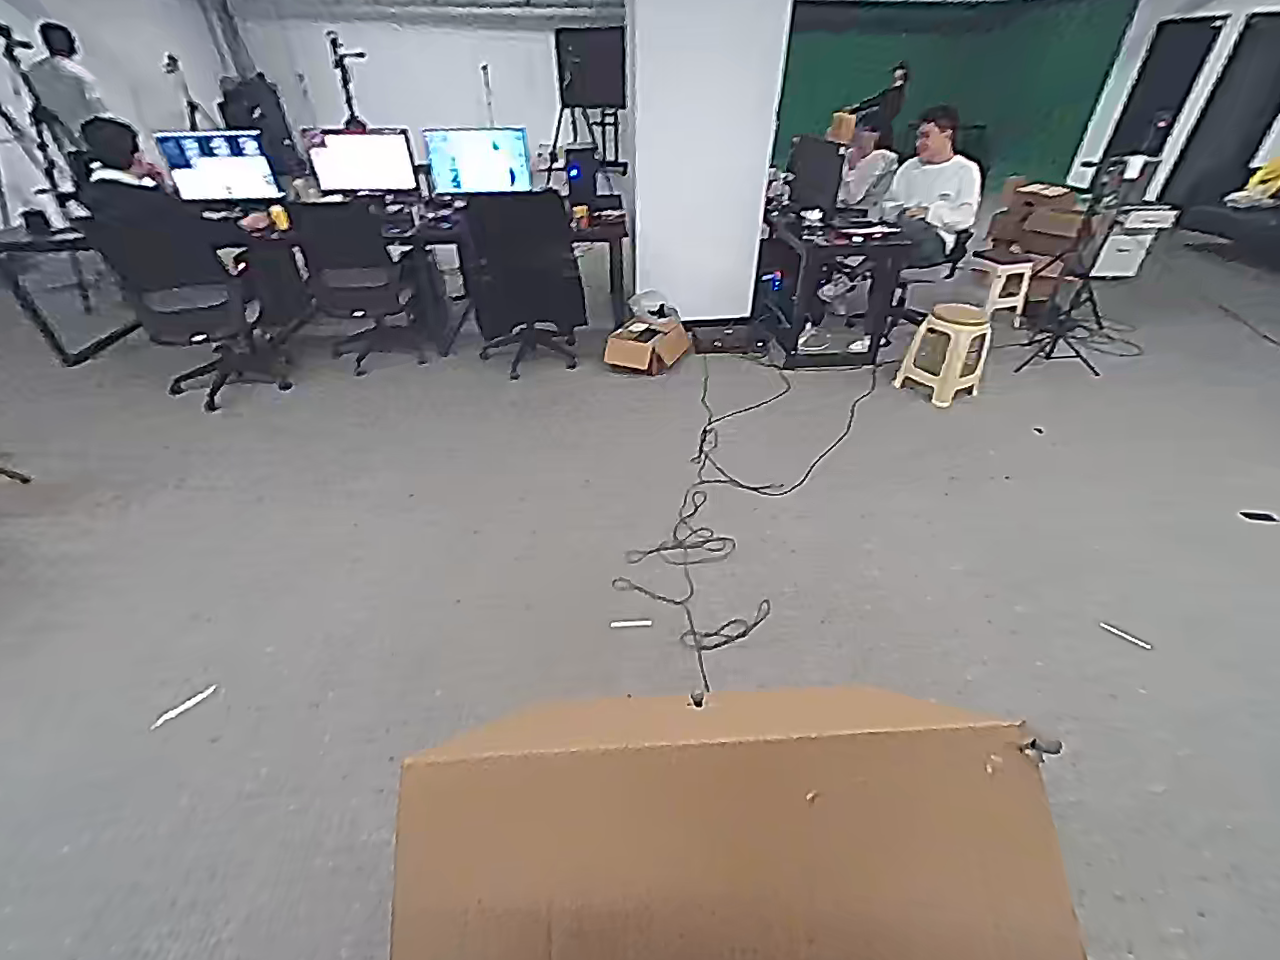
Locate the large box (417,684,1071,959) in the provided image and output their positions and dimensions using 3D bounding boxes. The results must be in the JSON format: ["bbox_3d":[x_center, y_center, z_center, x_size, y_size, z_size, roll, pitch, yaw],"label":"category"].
[{"bbox_3d":[0.068,0.364,0.465,0.408,0.320,0.320,-6,75,3],"label":"large box"}]
